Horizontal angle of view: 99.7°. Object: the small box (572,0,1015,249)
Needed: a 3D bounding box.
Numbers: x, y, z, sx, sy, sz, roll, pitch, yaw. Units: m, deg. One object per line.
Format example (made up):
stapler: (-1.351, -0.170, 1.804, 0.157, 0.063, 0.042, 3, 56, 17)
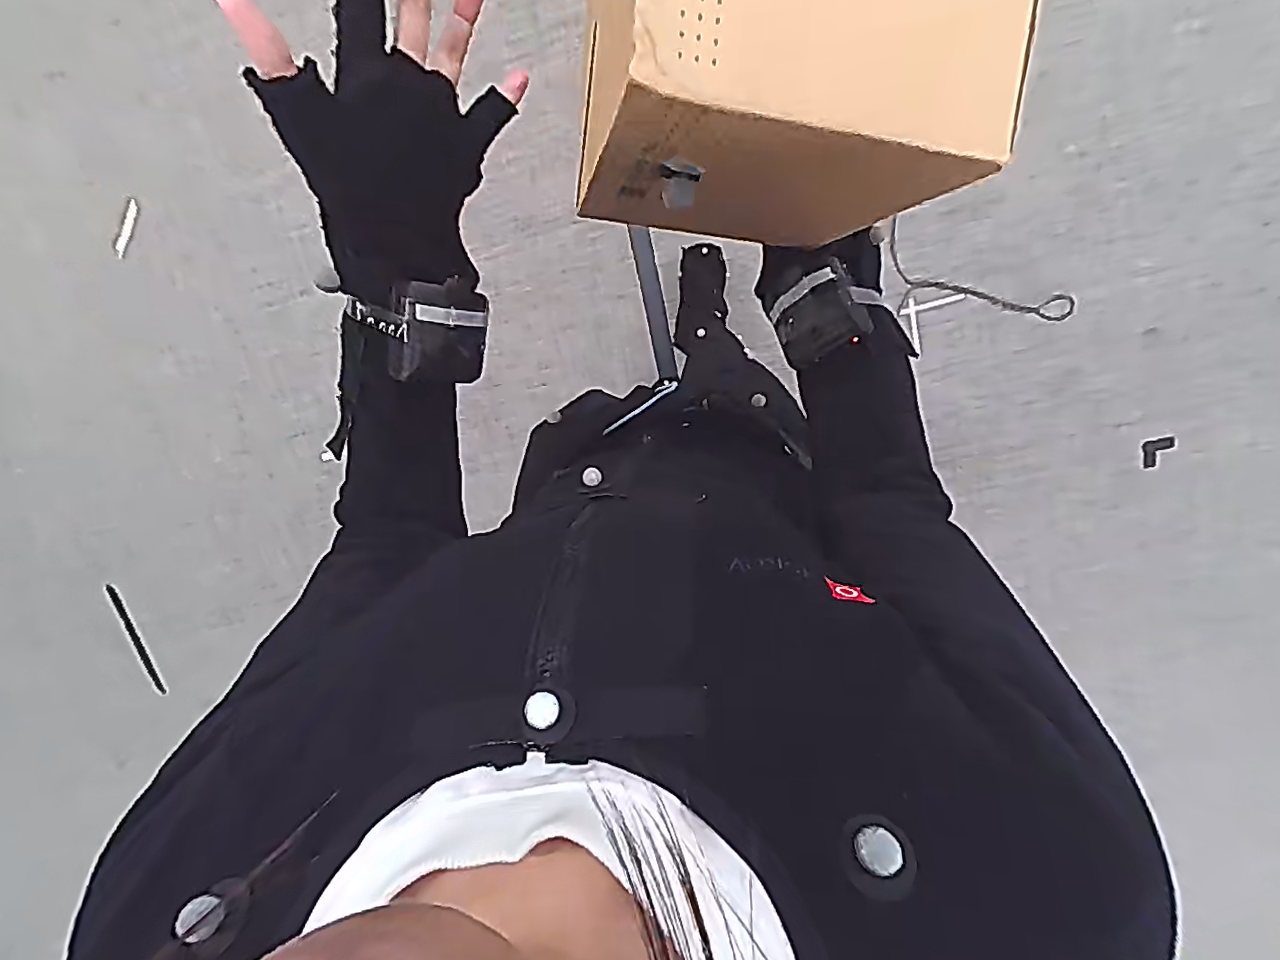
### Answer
small box: (0.059, -0.239, 0.281, 0.176, 0.168, 0.179, 3, 100, -12)
